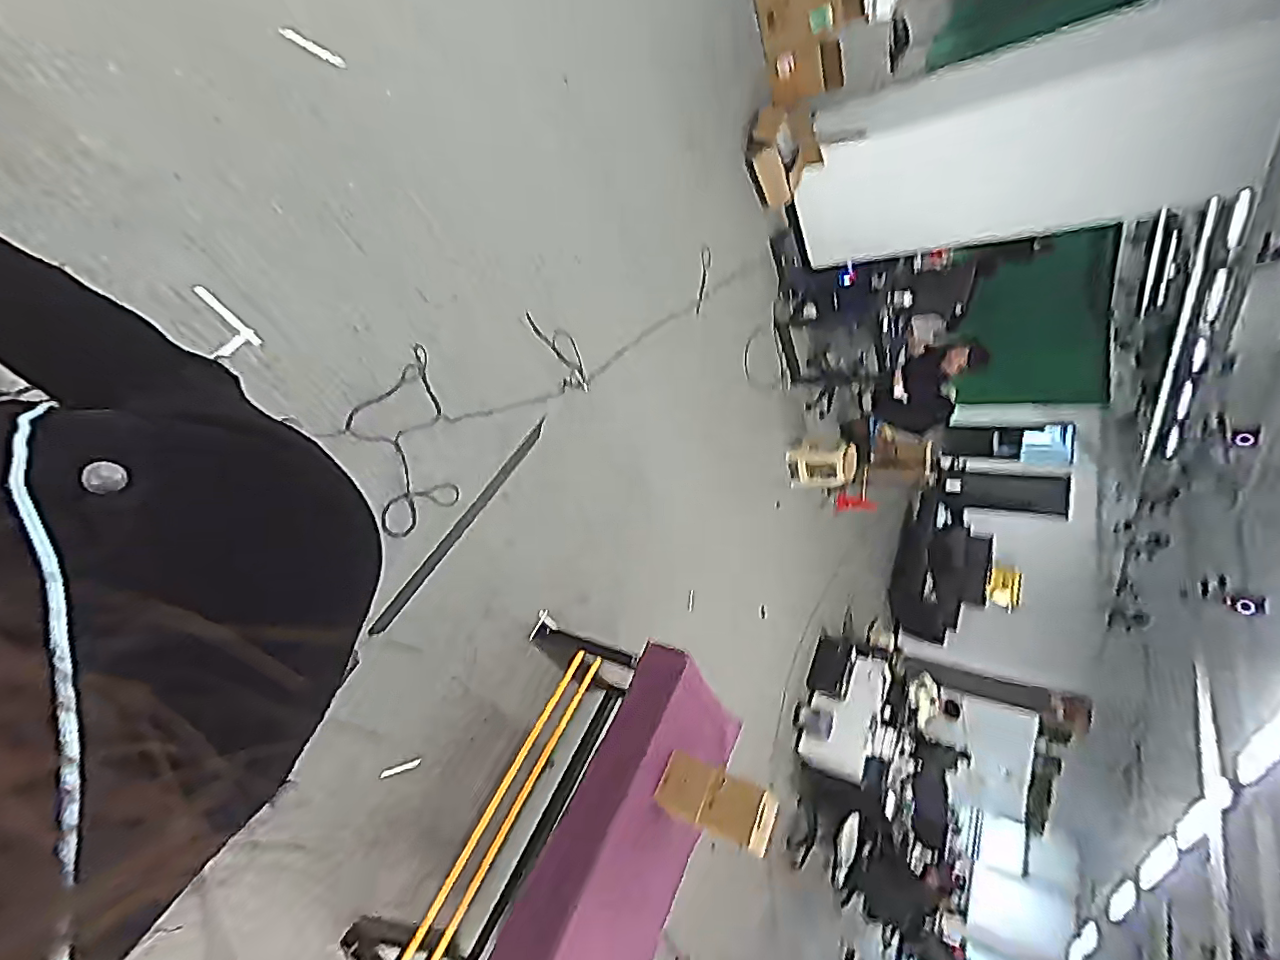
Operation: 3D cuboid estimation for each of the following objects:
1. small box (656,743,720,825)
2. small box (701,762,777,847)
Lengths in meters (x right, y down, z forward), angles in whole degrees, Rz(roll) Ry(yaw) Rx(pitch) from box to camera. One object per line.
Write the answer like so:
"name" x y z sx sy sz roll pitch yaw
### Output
"small box" 0.177 1.016 1.817 0.168 0.176 0.179 -57 135 -32
"small box" 0.315 1.032 1.729 0.168 0.176 0.179 -60 138 -29
